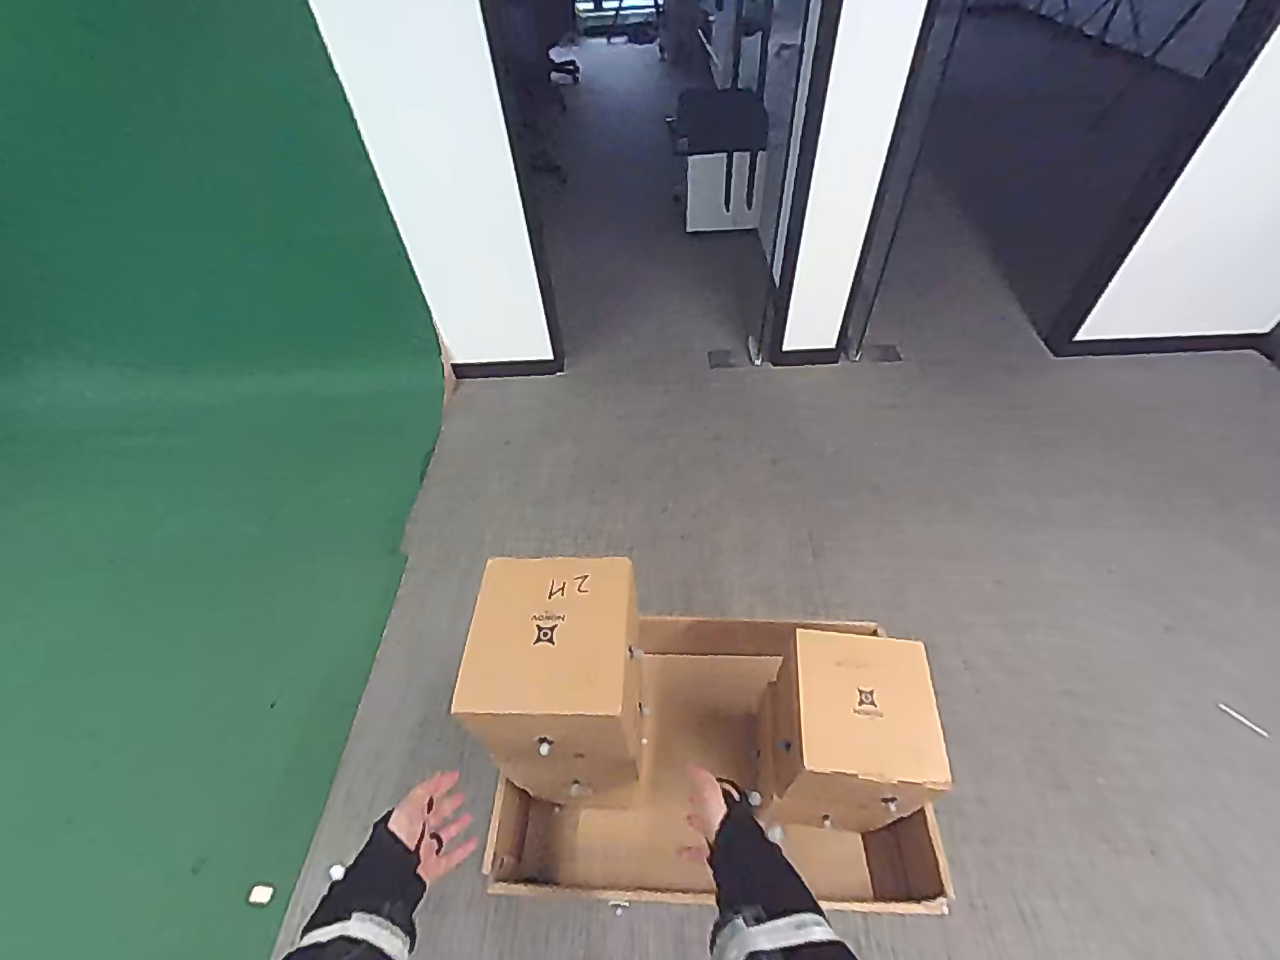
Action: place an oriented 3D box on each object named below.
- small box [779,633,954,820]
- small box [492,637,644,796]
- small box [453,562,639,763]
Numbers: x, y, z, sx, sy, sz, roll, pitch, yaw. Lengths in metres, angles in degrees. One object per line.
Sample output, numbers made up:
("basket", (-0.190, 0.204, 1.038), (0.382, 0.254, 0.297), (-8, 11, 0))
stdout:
("small box", (0.281, 0.328, 0.714), (0.168, 0.176, 0.179), (5, 48, 7))
("small box", (-0.084, 0.324, 0.746), (0.179, 0.176, 0.168), (-1, 48, 3))
("small box", (-0.090, 0.213, 0.624), (0.168, 0.176, 0.179), (0, 48, 4))
